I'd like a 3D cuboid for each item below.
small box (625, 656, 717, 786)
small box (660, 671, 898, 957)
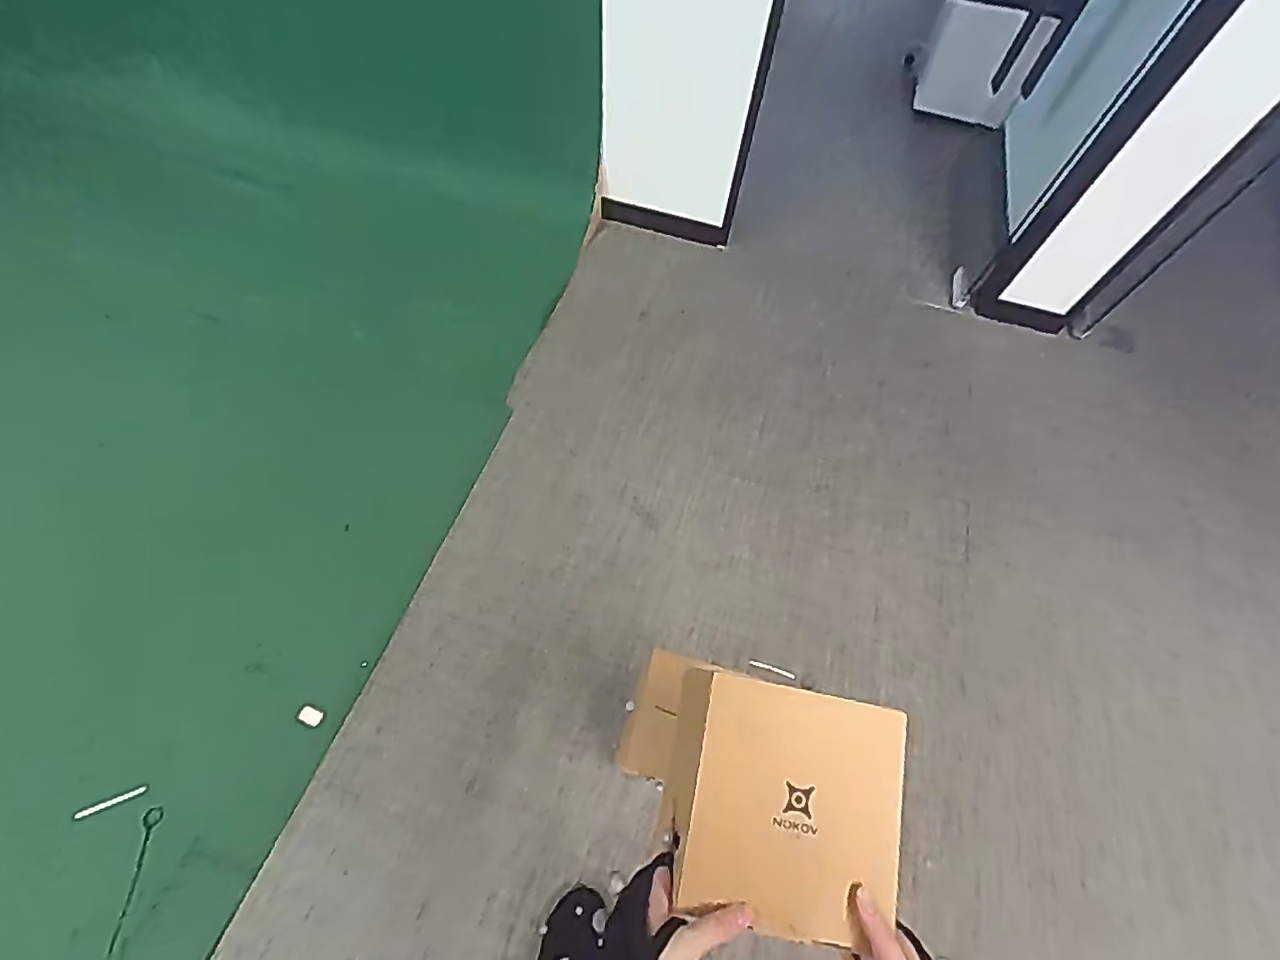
[{"bbox_3d":[0.083,0.392,0.842,0.179,0.176,0.168,15,62,5],"label":"small box"},{"bbox_3d":[0.117,0.285,0.508,0.168,0.176,0.179,12,73,1],"label":"small box"}]
